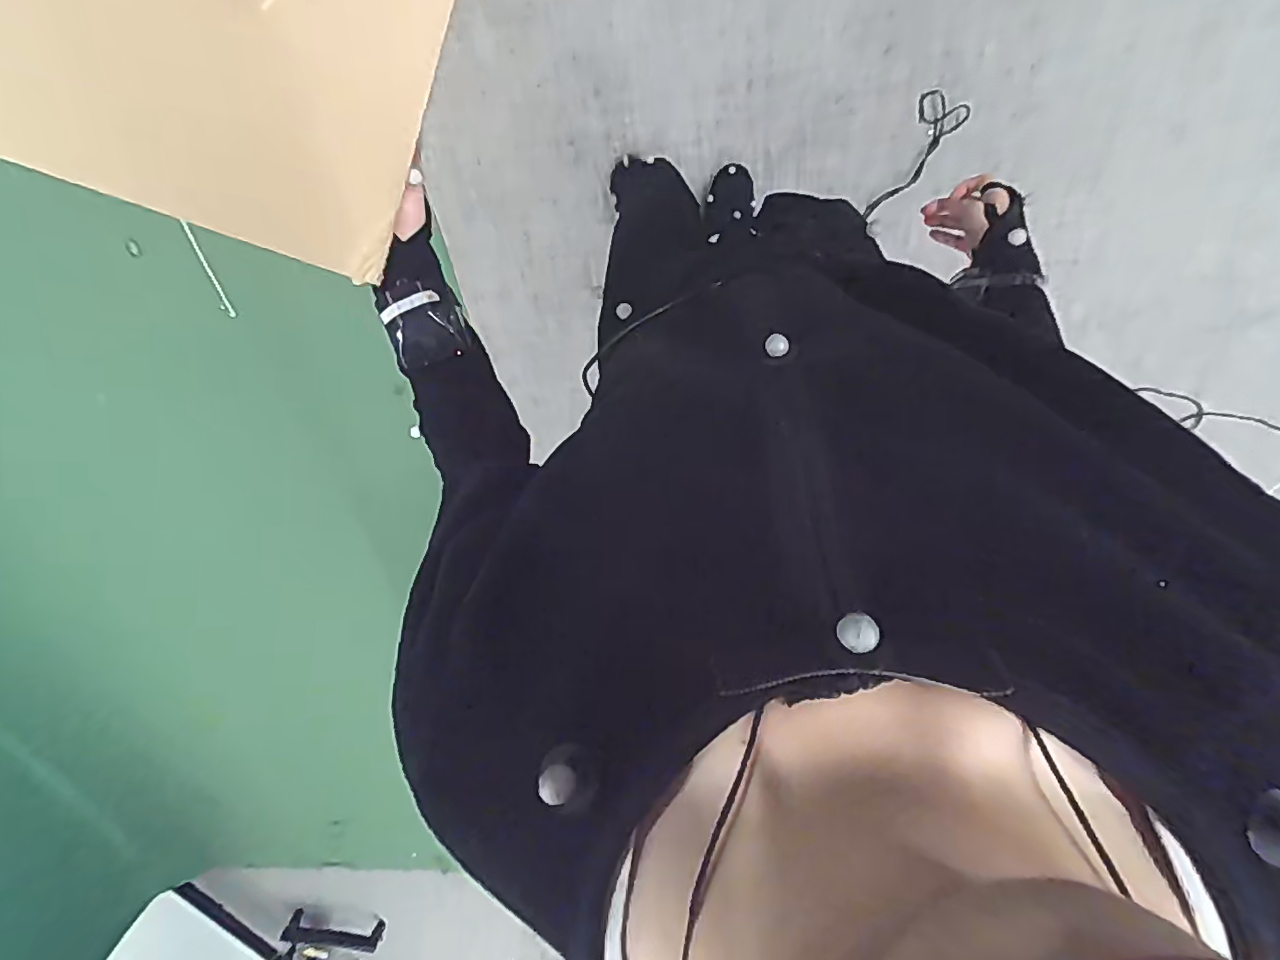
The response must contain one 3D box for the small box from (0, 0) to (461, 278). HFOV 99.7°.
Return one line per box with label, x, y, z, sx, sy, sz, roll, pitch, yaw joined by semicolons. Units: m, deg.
small box;-0.195;-0.242;0.281;0.168;0.179;0.176;12;123;-32
